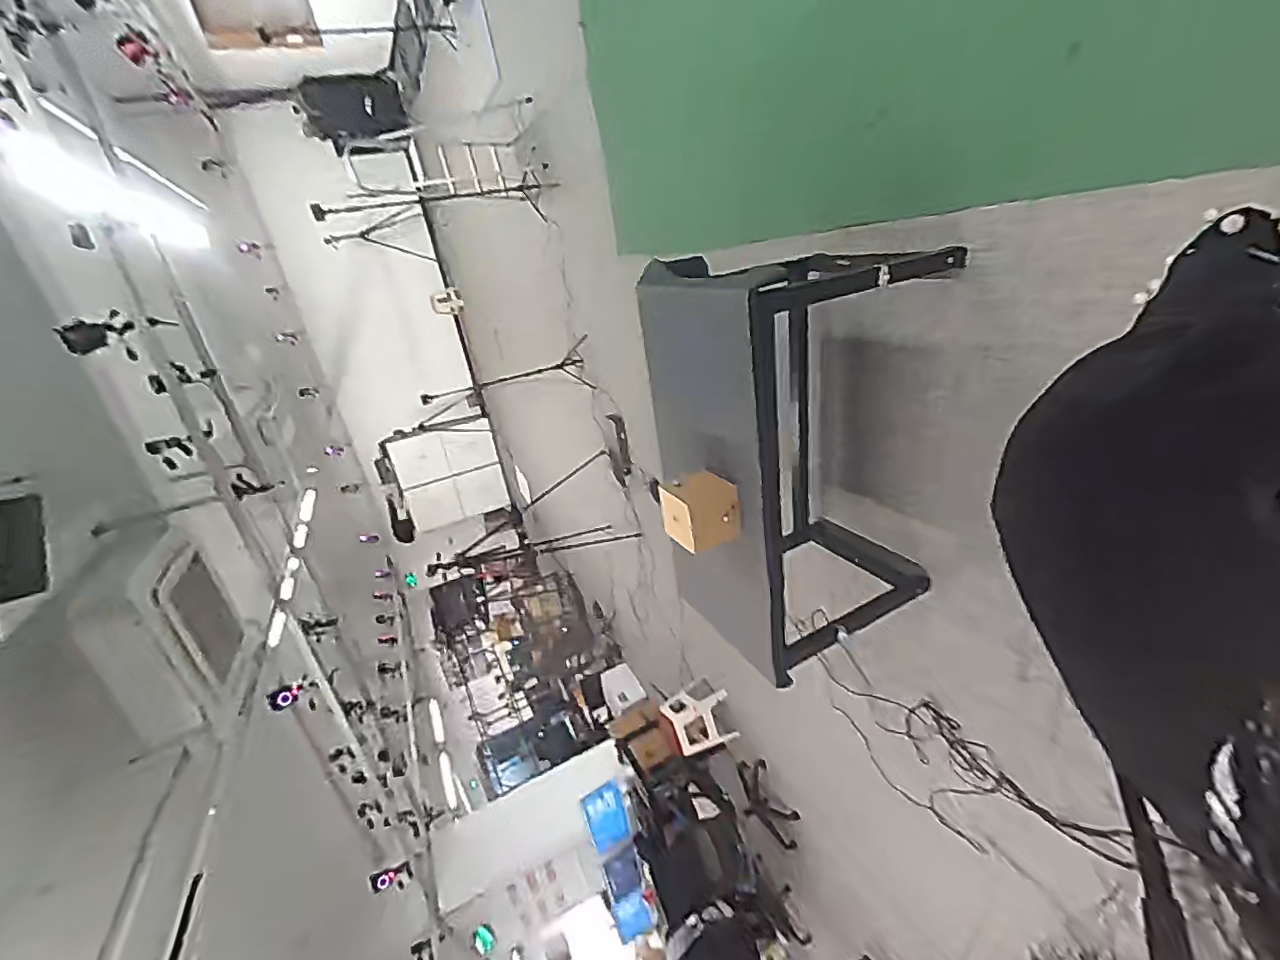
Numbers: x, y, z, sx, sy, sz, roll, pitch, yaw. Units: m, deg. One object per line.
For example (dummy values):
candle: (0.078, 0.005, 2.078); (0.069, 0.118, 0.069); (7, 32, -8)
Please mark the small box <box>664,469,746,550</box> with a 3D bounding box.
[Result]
small box: (0.195, 0.080, 1.612); (0.179, 0.176, 0.168); (34, 140, 58)
